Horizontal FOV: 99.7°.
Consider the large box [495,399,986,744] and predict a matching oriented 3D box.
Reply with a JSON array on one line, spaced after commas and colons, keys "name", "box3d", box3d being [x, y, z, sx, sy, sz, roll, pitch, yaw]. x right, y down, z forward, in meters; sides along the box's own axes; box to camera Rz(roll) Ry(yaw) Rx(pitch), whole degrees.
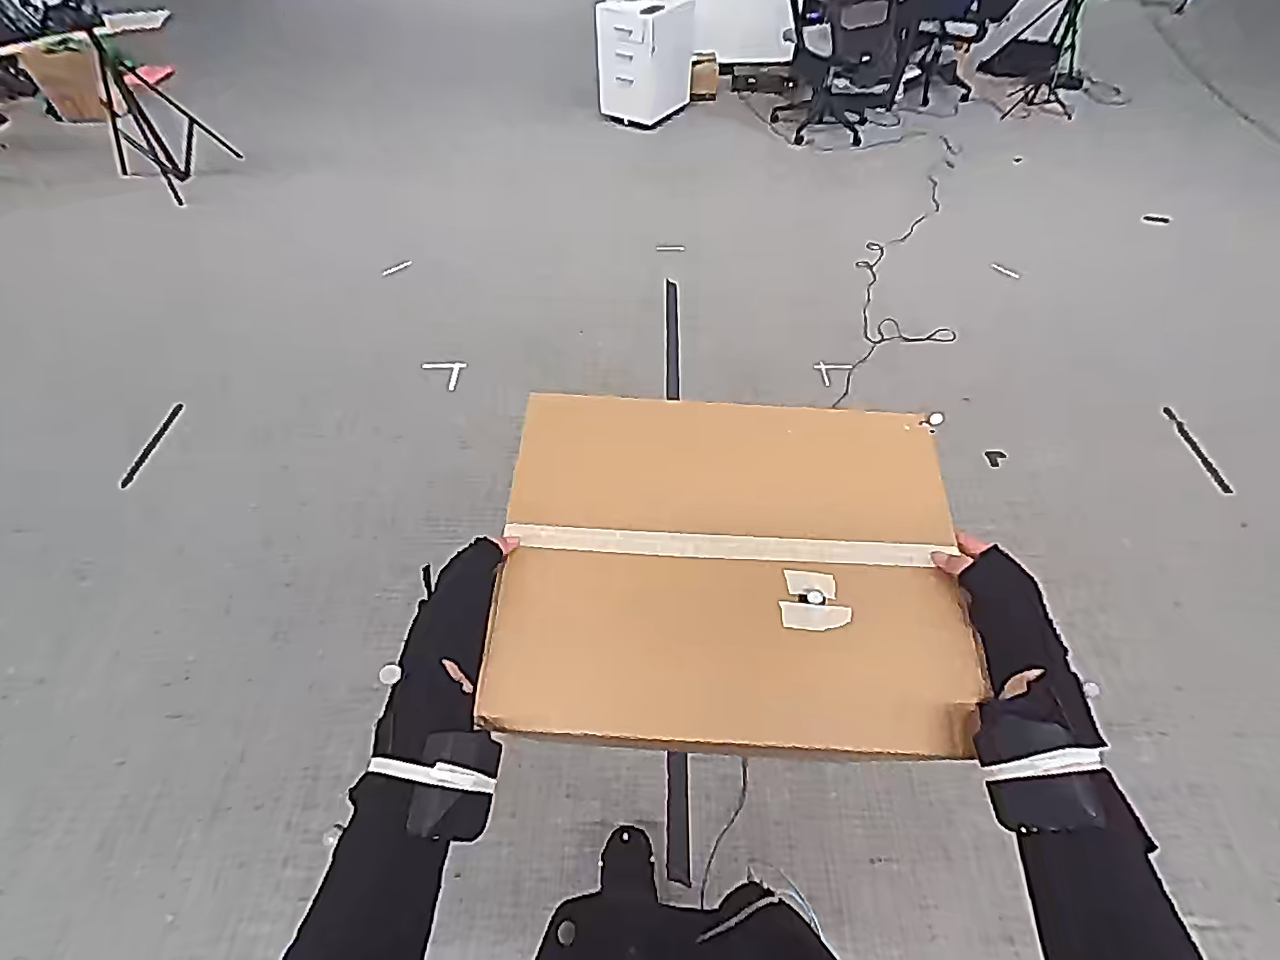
[{"name": "large box", "box3d": [0.080, 0.127, 0.628, 0.408, 0.320, 0.320, 3, 64, 0]}]
